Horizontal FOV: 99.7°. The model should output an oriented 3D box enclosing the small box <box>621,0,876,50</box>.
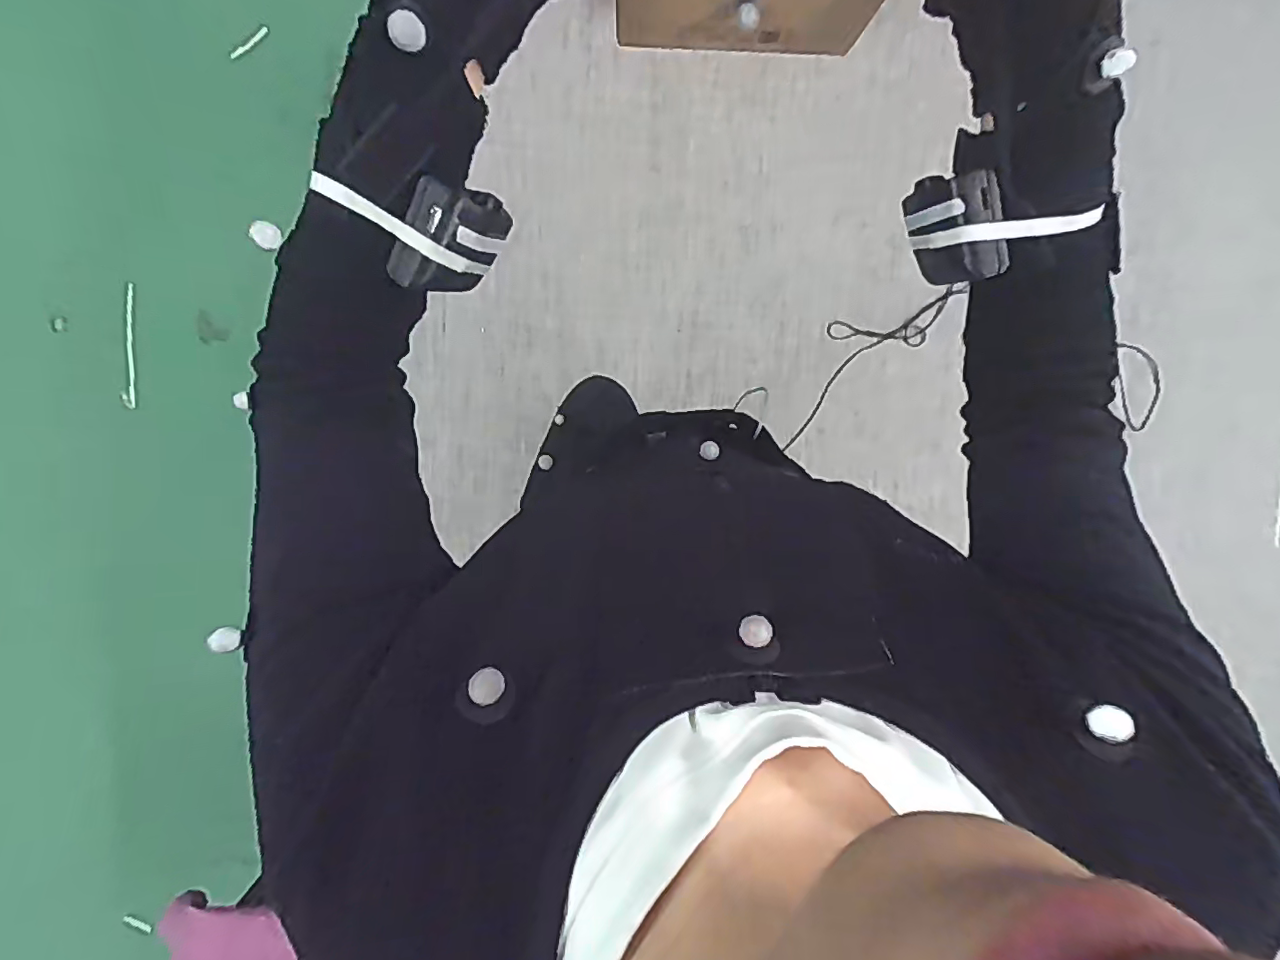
[{"bbox_3d":[0.071,-0.373,0.278,0.168,0.176,0.179,2,102,-2],"label":"small box"}]
